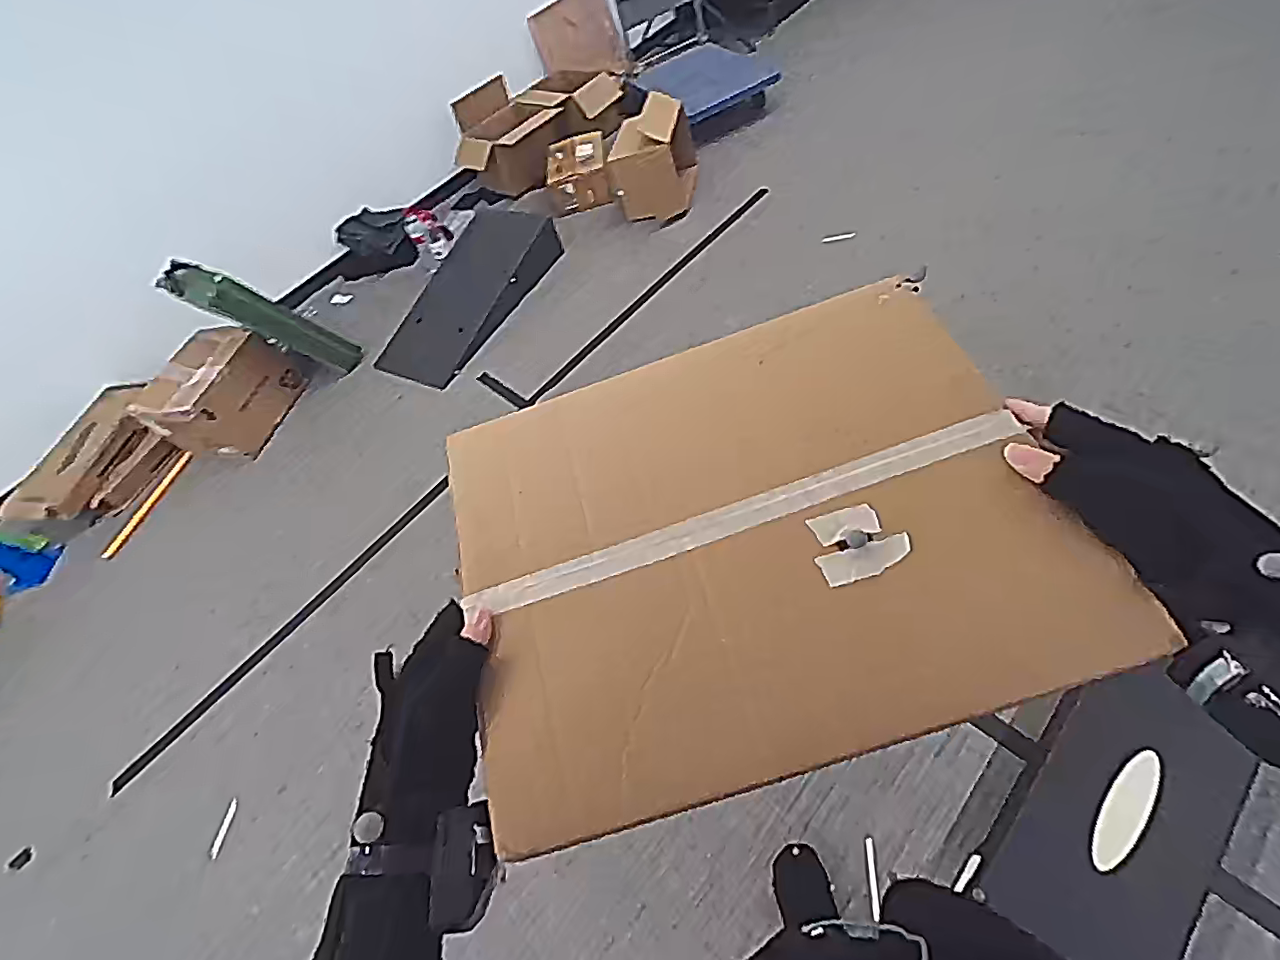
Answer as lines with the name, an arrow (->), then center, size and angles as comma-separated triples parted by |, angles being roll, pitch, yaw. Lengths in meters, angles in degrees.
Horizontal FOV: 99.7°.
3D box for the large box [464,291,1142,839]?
large box -> 0.099, 0.096, 0.525 | 0.408, 0.320, 0.320 | -19, 62, 2
